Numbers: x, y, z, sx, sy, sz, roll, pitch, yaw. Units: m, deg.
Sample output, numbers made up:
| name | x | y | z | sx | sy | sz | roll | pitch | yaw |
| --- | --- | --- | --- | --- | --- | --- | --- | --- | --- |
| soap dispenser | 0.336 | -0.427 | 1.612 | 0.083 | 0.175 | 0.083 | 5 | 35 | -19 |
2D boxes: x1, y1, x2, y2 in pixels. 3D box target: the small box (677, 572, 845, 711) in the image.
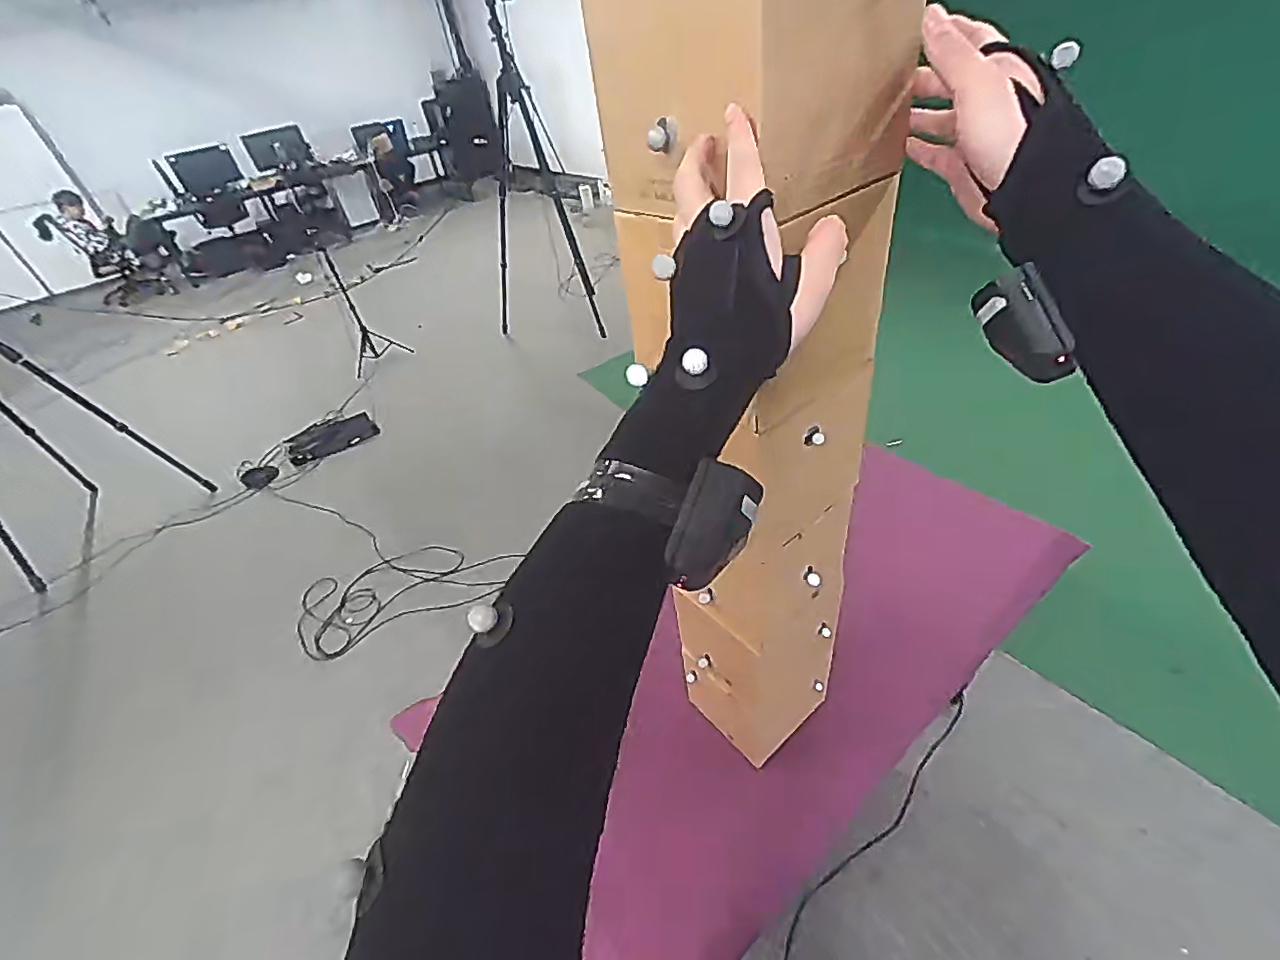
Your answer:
| name | x | y | z | sx | sy | sz | roll | pitch | yaw |
| --- | --- | --- | --- | --- | --- | --- | --- | --- | --- |
| small box | 0.175 | 0.199 | 0.805 | 0.179 | 0.176 | 0.168 | -32 | 44 | -24 |

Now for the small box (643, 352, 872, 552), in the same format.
| name | x | y | z | sx | sy | sz | roll | pitch | yaw |
| --- | --- | --- | --- | --- | --- | --- | --- | --- | --- |
| small box | 0.129 | -0.052 | 0.601 | 0.179 | 0.176 | 0.168 | -32 | 44 | -26 |

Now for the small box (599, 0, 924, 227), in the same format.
| name | x | y | z | sx | sy | sz | roll | pitch | yaw |
| --- | --- | --- | --- | --- | --- | --- | --- | --- | --- |
| small box | 0.085 | -0.306 | 0.401 | 0.179 | 0.176 | 0.168 | -32 | 44 | -24 |

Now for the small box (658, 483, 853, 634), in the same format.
| name | x | y | z | sx | sy | sz | roll | pitch | yaw |
| --- | --- | --- | --- | --- | --- | --- | --- | --- | --- |
| small box | 0.147 | 0.072 | 0.706 | 0.168 | 0.176 | 0.179 | -32 | 44 | -25 |

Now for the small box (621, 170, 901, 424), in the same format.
| name | x | y | z | sx | sy | sz | roll | pitch | yaw |
| --- | --- | --- | --- | --- | --- | --- | --- | --- | --- |
| small box | 0.106 | -0.179 | 0.503 | 0.179 | 0.176 | 0.168 | -33 | 44 | -25 |
